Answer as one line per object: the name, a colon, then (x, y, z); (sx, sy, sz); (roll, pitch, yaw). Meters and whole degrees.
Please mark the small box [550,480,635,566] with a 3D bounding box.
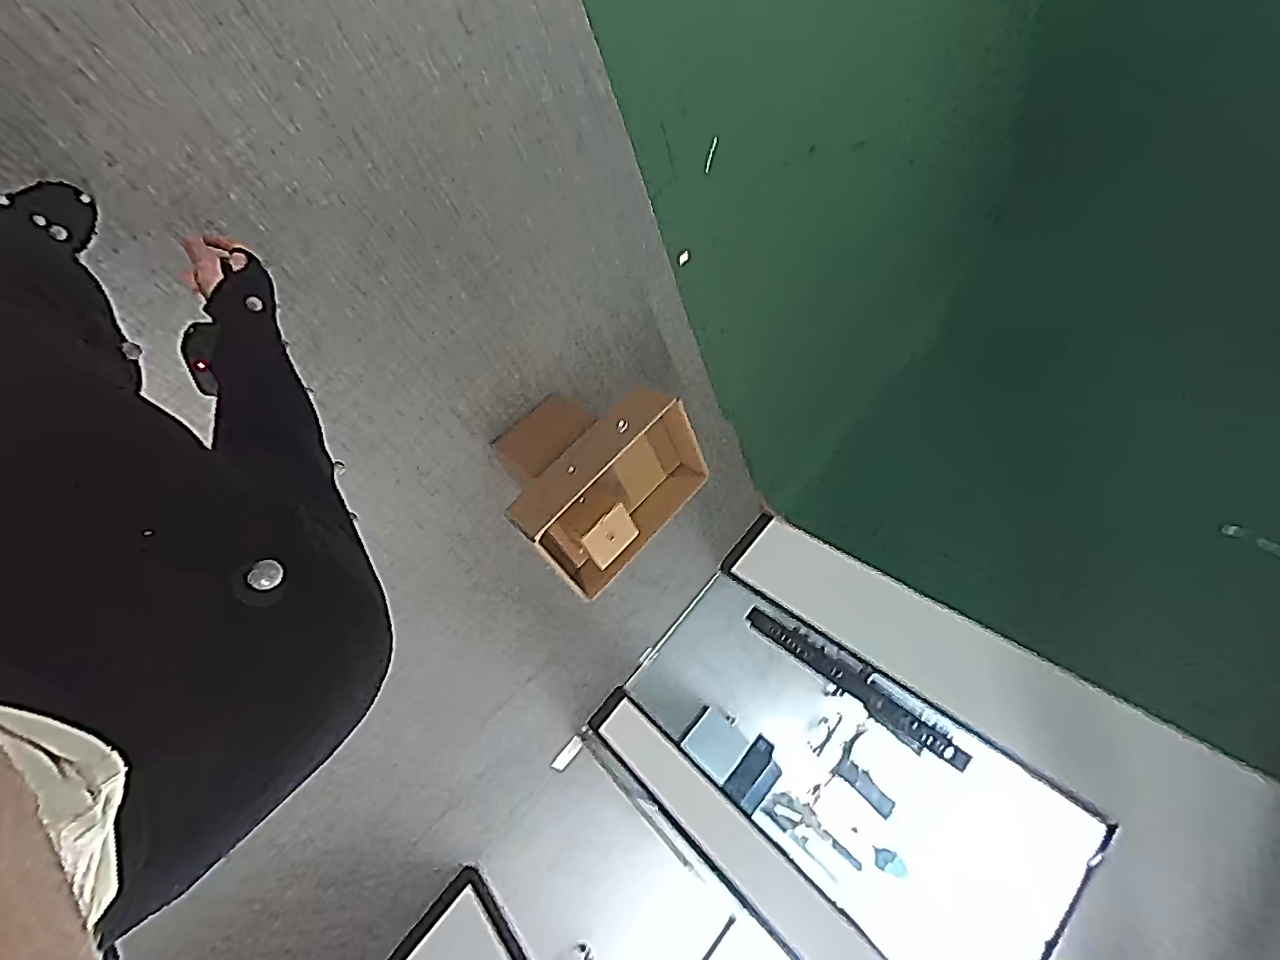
small box: (-0.151, 0.131, 1.705); (0.168, 0.176, 0.179); (-45, 138, -16)
